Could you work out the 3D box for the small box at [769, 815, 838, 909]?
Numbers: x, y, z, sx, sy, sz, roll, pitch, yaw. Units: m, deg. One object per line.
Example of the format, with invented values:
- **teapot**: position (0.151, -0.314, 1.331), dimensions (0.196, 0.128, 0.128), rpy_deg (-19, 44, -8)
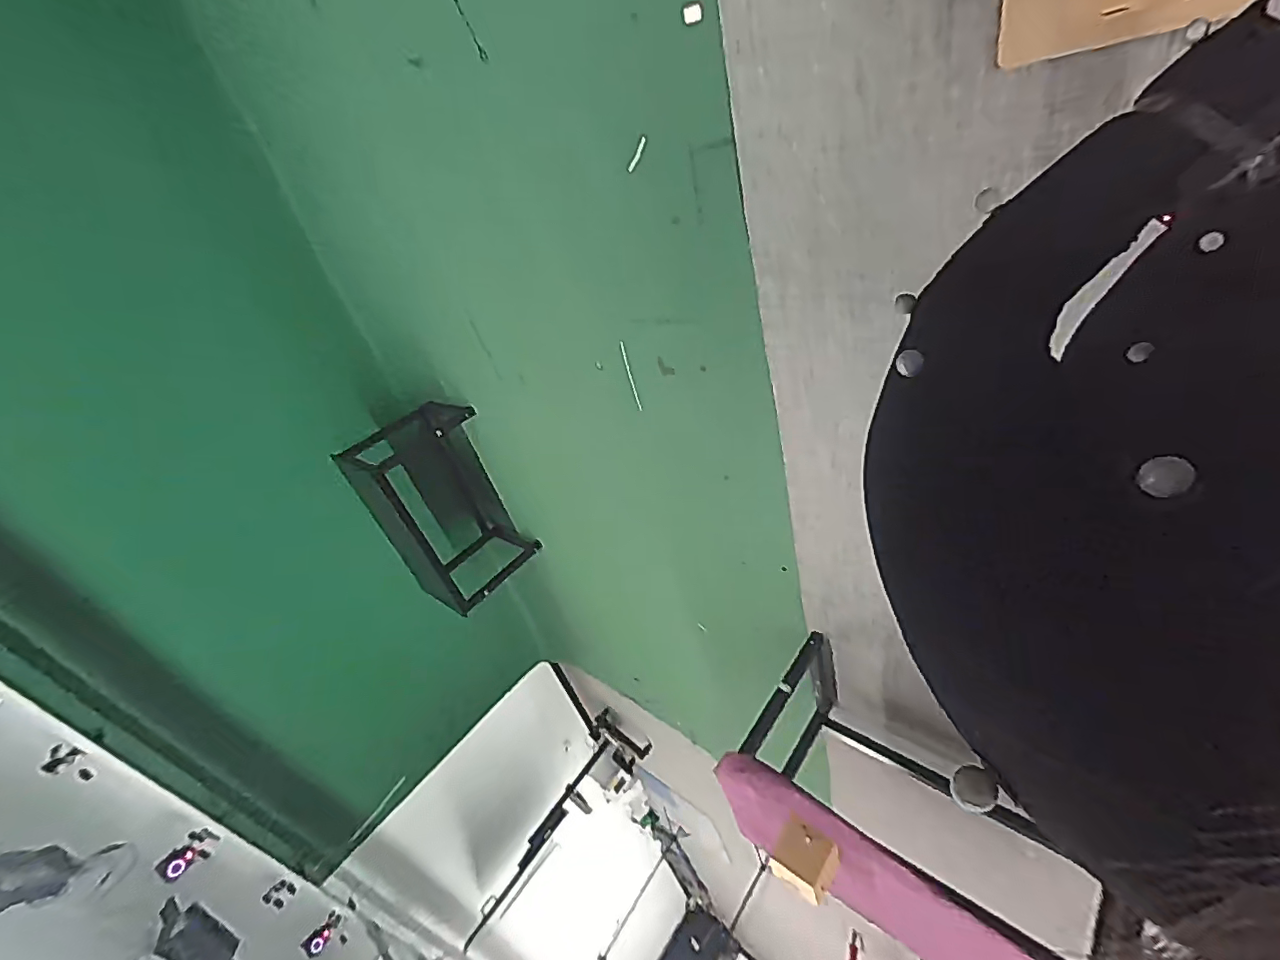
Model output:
- **small box**: position (0.561, 1.295, 1.840), dimensions (0.168, 0.176, 0.179), rpy_deg (15, 135, 40)
